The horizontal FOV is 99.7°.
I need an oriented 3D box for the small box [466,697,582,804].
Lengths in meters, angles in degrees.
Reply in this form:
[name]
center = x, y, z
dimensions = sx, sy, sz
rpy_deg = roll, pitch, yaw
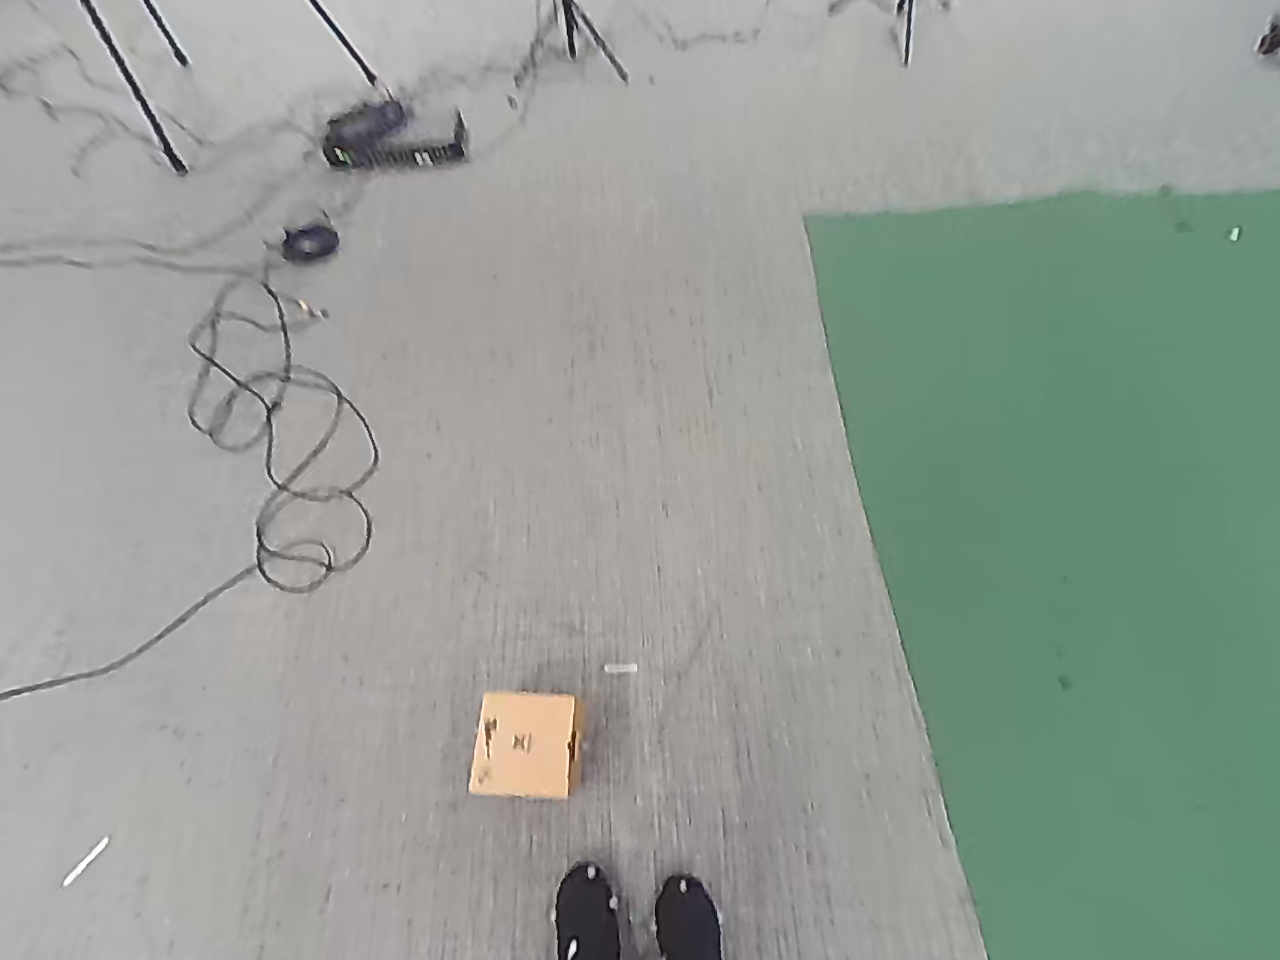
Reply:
[small box]
center = -0.210, 0.513, 1.038
dimensions = 0.179, 0.176, 0.168
rpy_deg = 2, 65, 2
